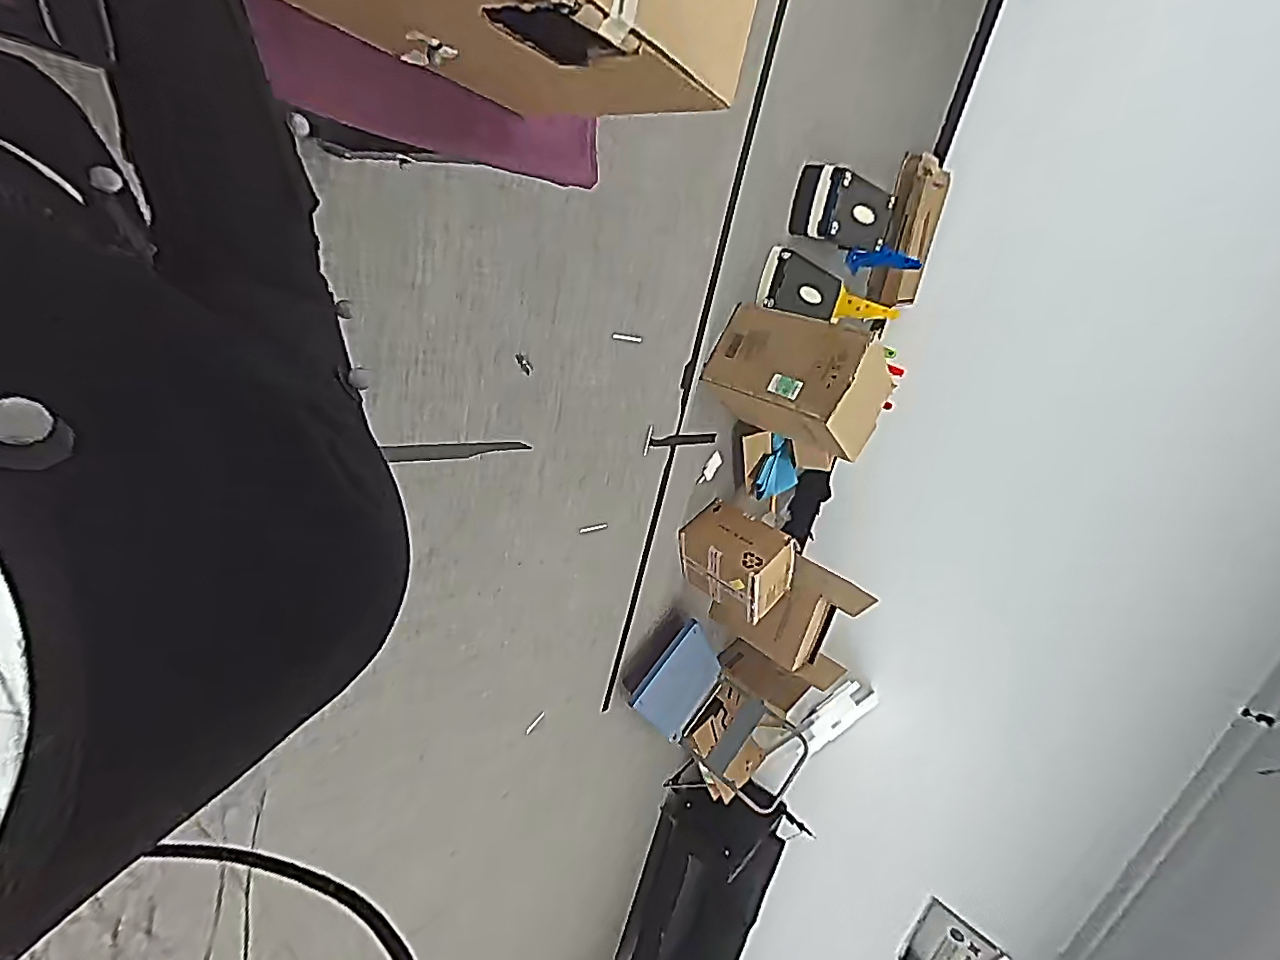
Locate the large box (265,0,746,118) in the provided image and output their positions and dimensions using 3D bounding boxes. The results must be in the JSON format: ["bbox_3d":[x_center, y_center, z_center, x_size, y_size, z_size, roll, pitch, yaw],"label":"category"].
[{"bbox_3d":[-0.093,-0.559,0.410,0.320,0.320,0.408,-10,118,-49],"label":"large box"}]
